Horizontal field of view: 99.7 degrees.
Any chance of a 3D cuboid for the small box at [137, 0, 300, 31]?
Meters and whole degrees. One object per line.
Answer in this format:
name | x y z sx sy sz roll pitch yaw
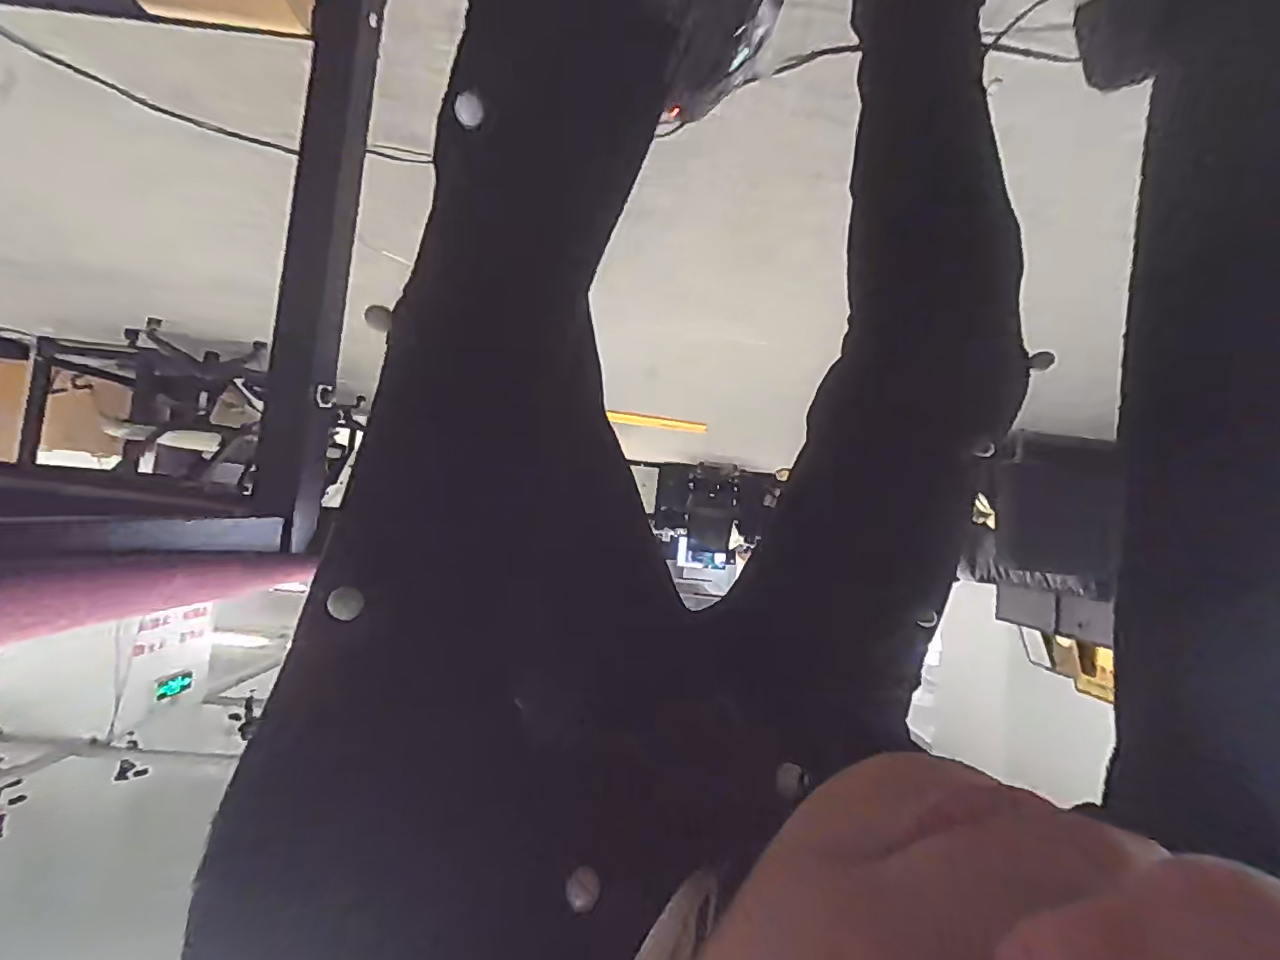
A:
small box | -0.414 -0.558 0.474 0.168 0.176 0.179 6 176 -1
